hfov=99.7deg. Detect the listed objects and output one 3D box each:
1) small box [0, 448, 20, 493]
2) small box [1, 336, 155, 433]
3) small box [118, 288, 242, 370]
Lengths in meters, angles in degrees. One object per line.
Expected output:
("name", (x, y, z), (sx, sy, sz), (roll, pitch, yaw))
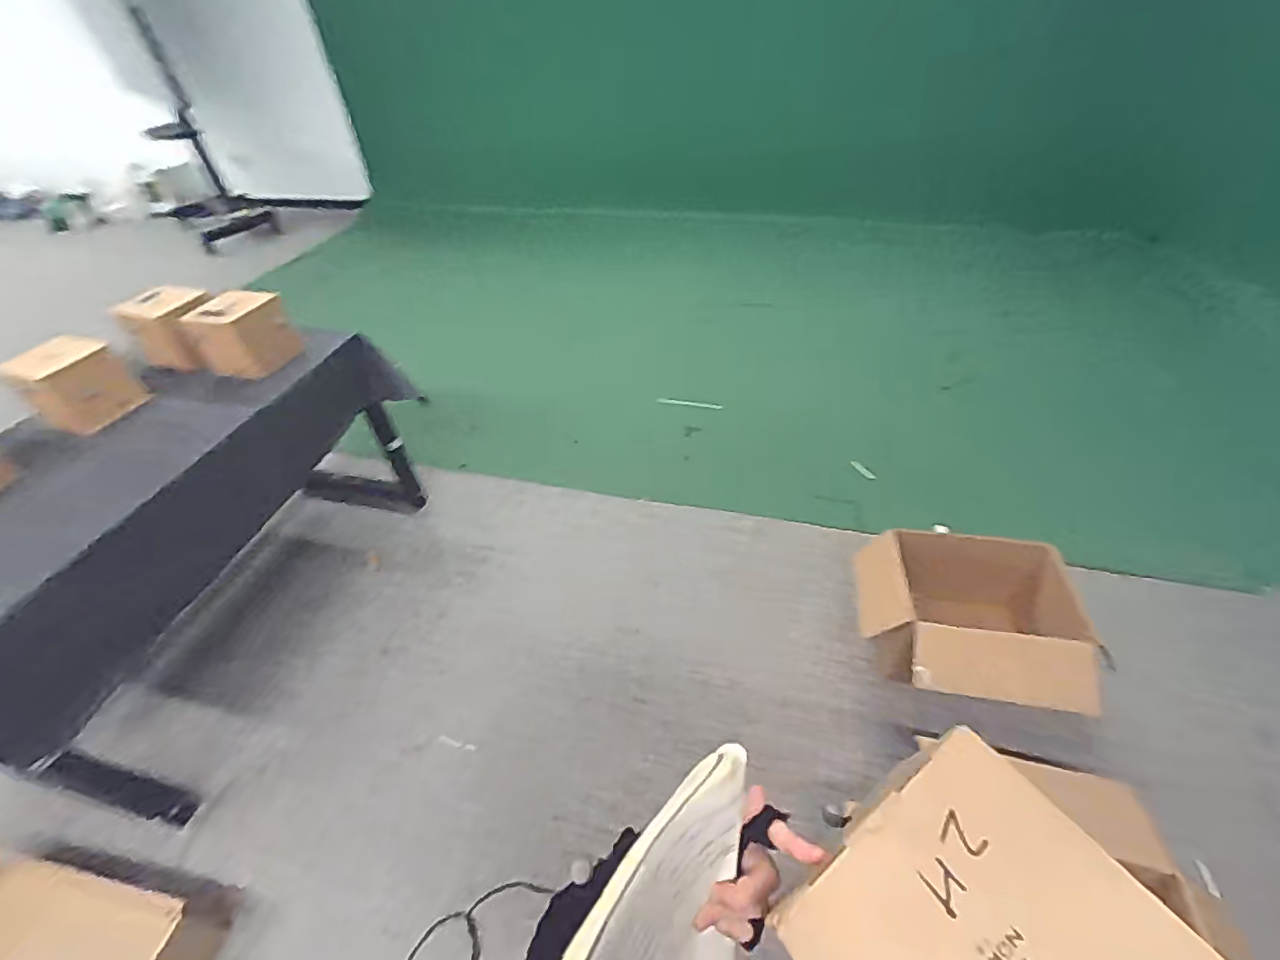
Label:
("small box", (-1.495, -0.030, 1.140), (0.168, 0.176, 0.179), (10, 44, 14))
("small box", (-1.394, -0.238, 1.358), (0.179, 0.176, 0.168), (10, 45, 15))
("small box", (-1.311, -0.433, 1.555), (0.179, 0.176, 0.168), (11, 46, 14))
